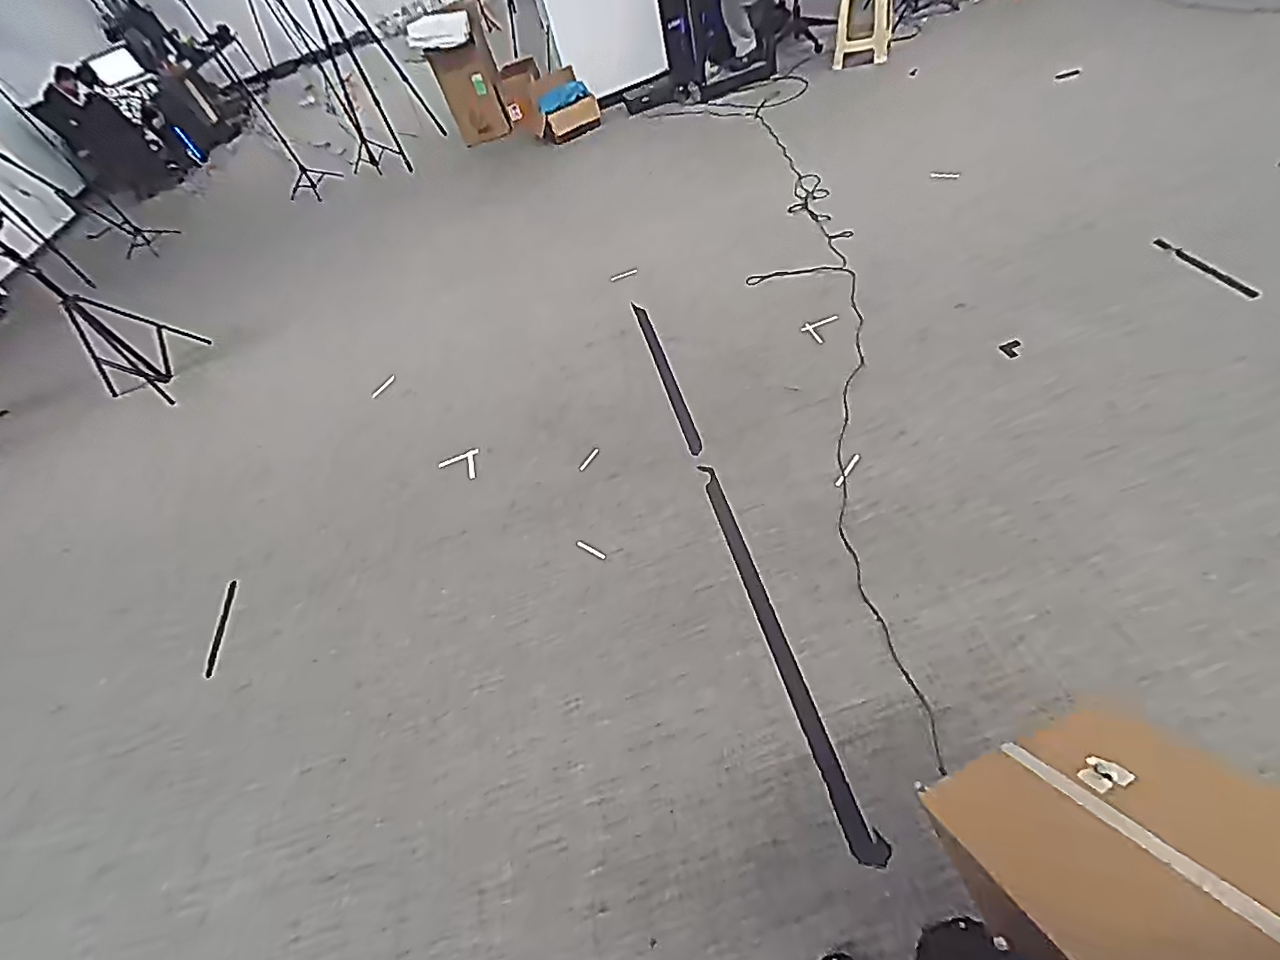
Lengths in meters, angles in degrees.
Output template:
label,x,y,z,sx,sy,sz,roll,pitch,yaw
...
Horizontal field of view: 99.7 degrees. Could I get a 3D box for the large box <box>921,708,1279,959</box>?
label,x,y,z,sx,sy,sz,roll,pitch,yaw
large box,0.641,0.551,0.637,0.320,0.408,0.320,-27,89,-2
